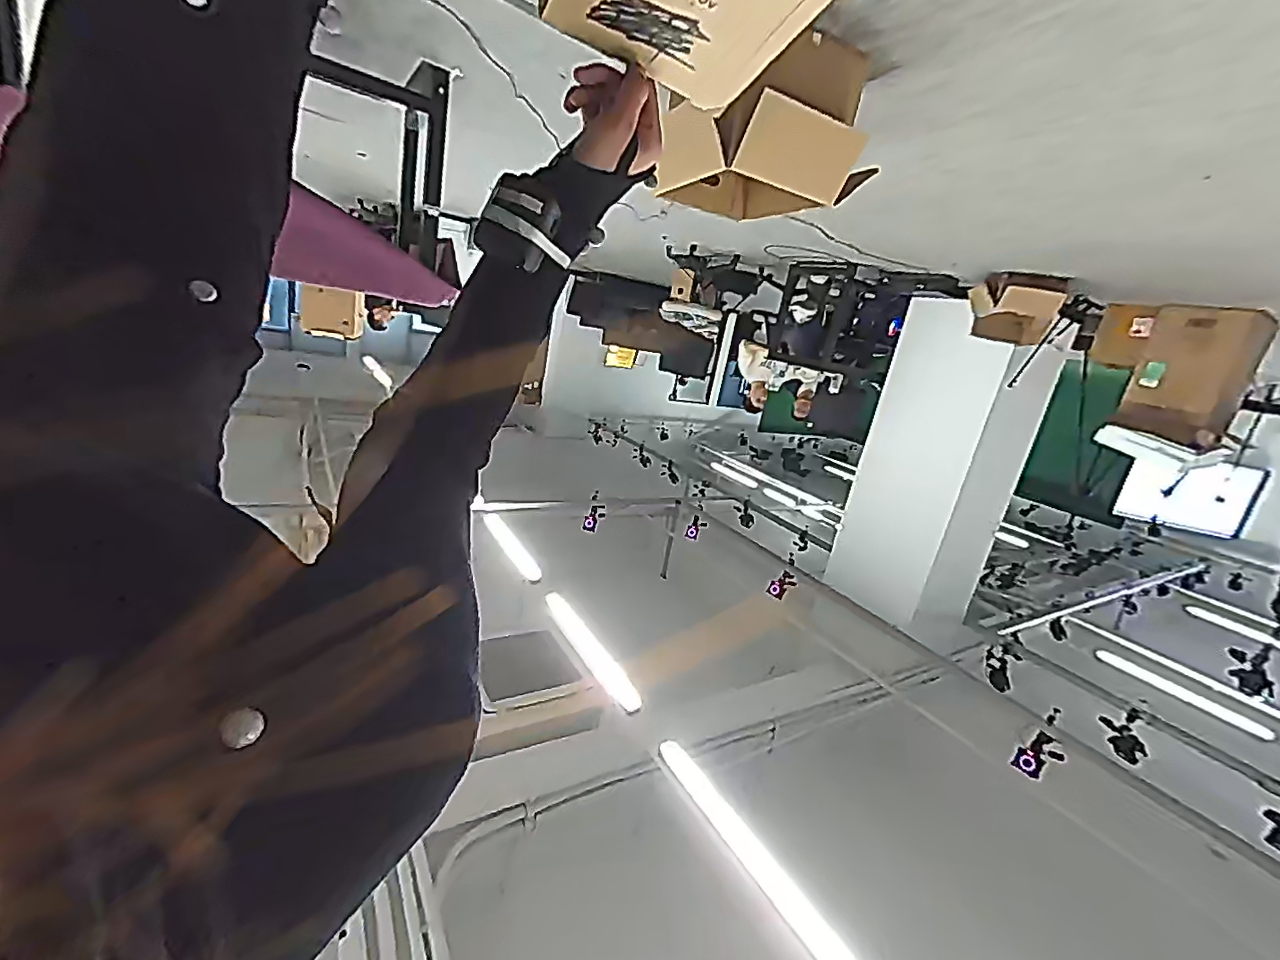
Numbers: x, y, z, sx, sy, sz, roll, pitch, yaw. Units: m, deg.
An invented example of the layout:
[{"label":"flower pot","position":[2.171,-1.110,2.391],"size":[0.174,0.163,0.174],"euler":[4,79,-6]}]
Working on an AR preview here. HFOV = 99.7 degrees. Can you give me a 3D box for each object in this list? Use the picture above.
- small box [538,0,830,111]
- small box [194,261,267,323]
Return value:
[{"label":"small box","position":[0.043,-0.411,0.362],"size":[0.168,0.176,0.179],"euler":[4,174,-31]},{"label":"small box","position":[-1.359,-0.628,1.801],"size":[0.168,0.176,0.179],"euler":[3,-162,-26]}]
